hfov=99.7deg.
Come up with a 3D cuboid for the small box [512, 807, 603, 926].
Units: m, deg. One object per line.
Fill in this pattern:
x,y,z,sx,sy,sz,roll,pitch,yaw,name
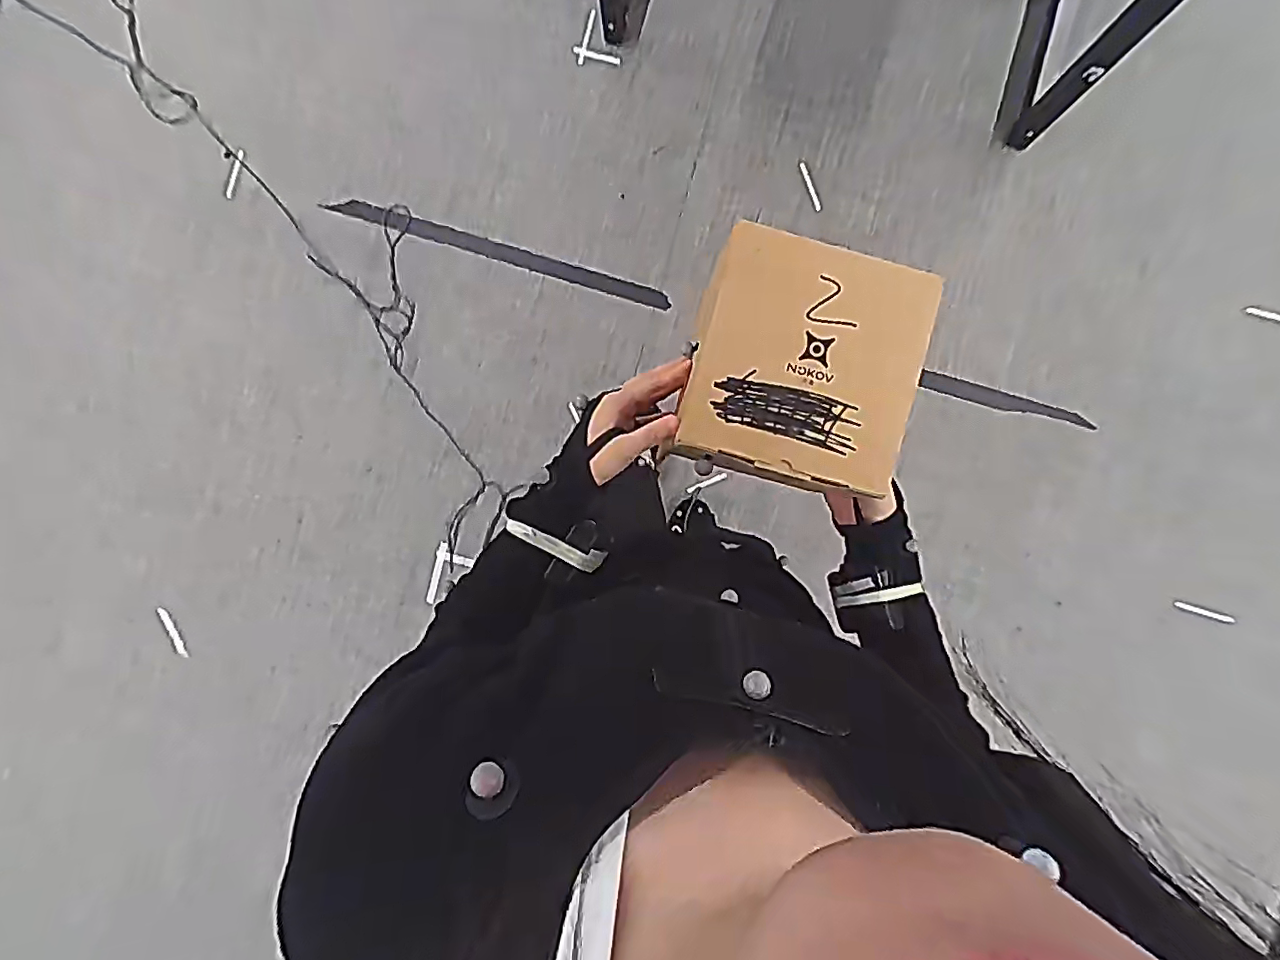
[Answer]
-0.207,0.989,1.402,0.179,0.176,0.168,18,90,1,small box
